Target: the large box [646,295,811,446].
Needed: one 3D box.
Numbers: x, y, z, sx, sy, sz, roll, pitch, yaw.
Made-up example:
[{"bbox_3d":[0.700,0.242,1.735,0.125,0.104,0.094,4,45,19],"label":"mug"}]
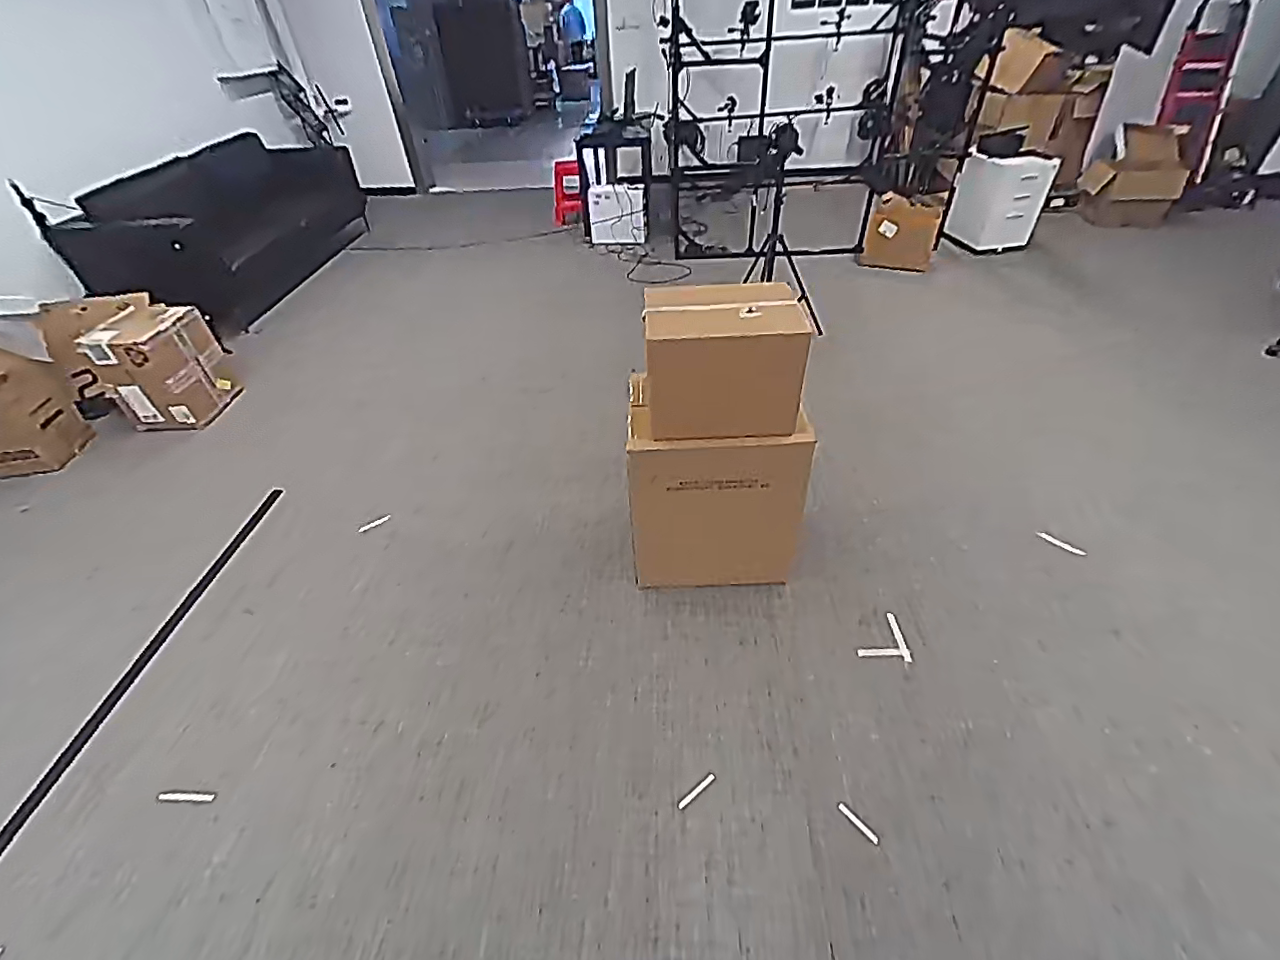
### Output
[{"bbox_3d":[0.225,-0.312,1.535,0.408,0.320,0.320,-2,42,1],"label":"large box"}]
